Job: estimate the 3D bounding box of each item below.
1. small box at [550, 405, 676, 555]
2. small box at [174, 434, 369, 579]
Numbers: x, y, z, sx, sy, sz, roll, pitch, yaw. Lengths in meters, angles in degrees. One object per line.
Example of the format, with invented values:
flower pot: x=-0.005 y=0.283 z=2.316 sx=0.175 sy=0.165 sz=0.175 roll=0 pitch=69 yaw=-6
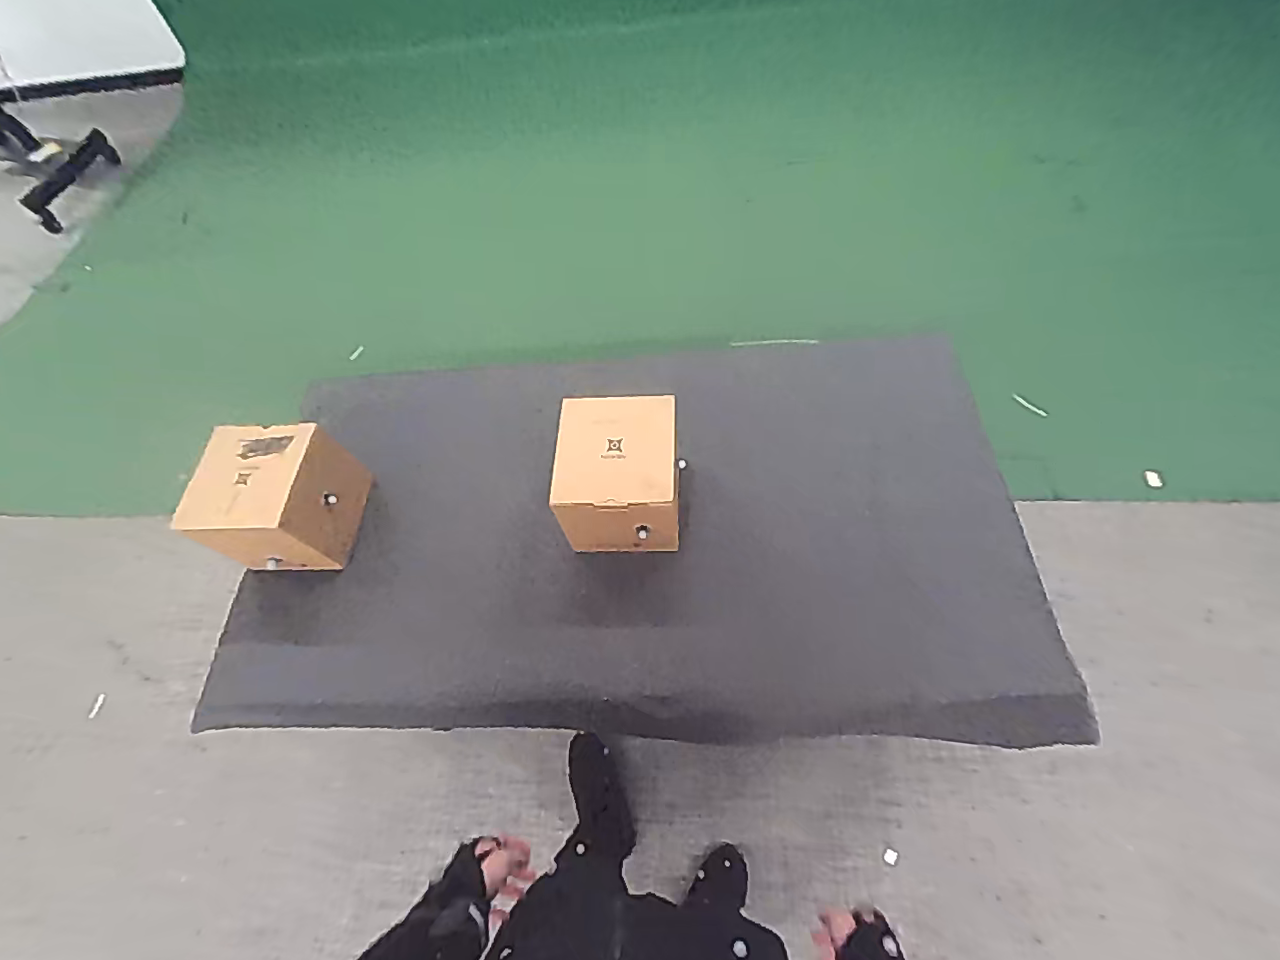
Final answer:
small box: x=-0.030 y=0.008 z=0.820 sx=0.168 sy=0.176 sz=0.179 roll=-1 pitch=60 yaw=4
small box: x=-0.559 y=0.045 z=0.853 sx=0.168 sy=0.176 sz=0.179 roll=-2 pitch=62 yaw=5
